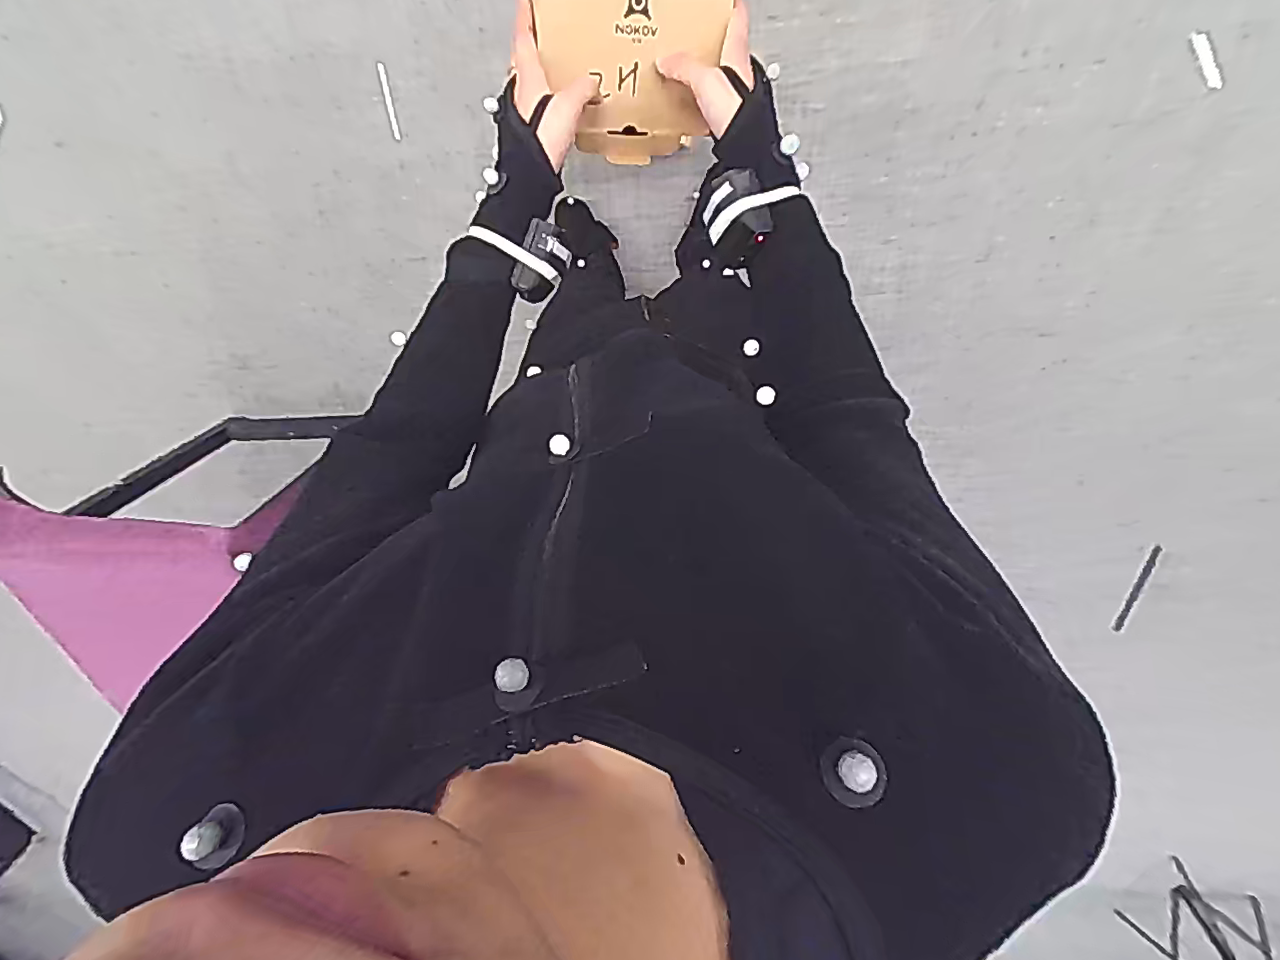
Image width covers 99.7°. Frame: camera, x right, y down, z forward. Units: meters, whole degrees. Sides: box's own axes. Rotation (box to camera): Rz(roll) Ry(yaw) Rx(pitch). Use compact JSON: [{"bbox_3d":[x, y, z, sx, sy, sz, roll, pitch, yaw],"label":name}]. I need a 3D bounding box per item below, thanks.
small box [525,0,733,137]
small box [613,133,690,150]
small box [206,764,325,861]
[{"bbox_3d":[-0.020,-0.442,0.498,0.168,0.176,0.179,-5,138,-11],"label":"small box"},{"bbox_3d":[0.031,-0.833,1.193,0.168,0.176,0.179,3,121,3],"label":"small box"},{"bbox_3d":[-1.017,0.914,1.489,0.168,0.176,0.179,-10,119,11],"label":"small box"}]
